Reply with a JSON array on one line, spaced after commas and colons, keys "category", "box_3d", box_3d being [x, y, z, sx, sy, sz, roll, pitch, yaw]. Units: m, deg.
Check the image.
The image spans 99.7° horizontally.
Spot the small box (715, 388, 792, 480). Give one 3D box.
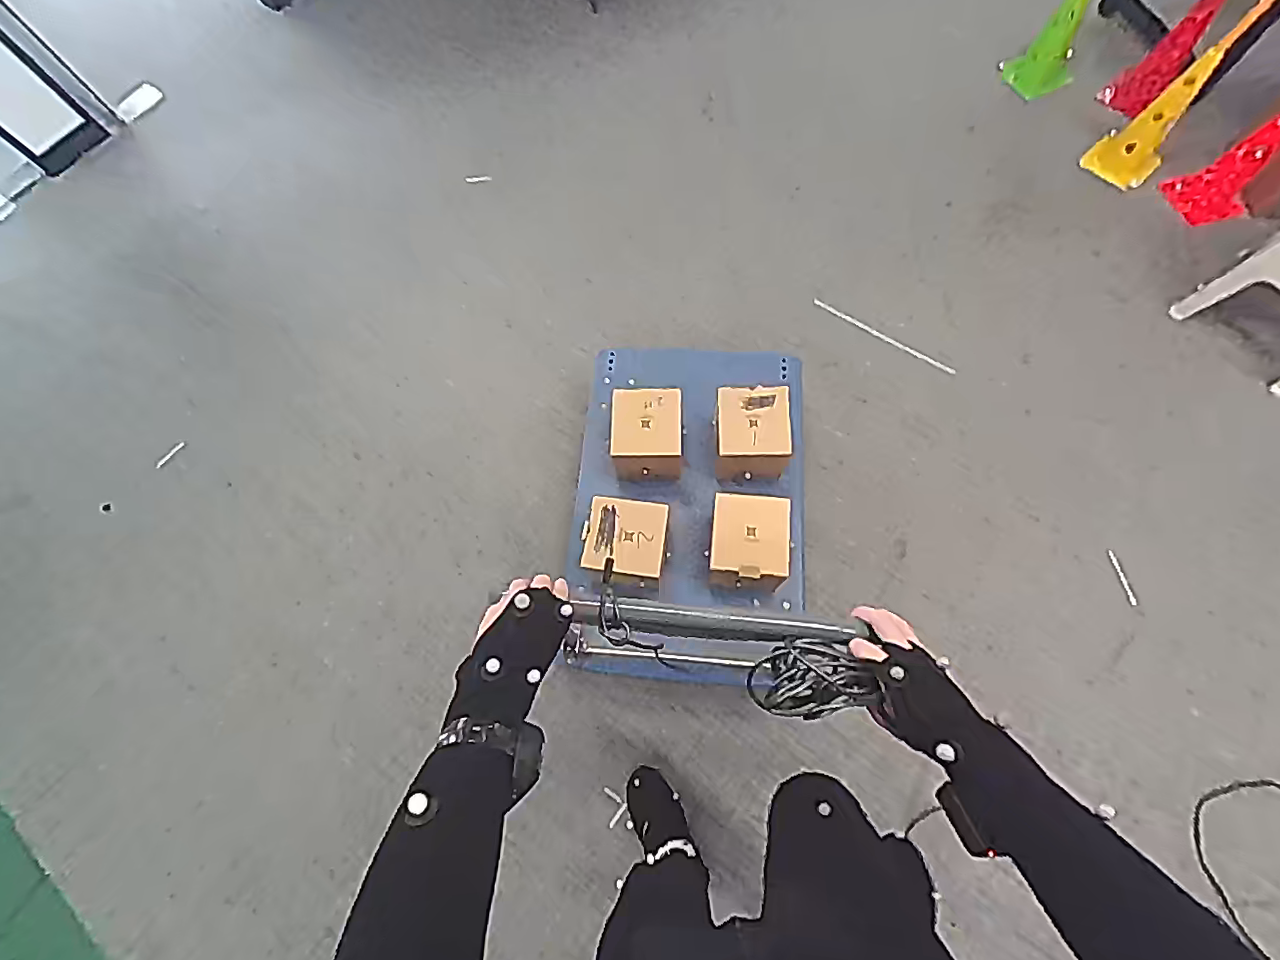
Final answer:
[{"category": "small box", "box_3d": [0.273, -0.111, 1.330, 0.168, 0.176, 0.179, 0, 71, 5]}]

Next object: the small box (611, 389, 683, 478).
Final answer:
[{"category": "small box", "box_3d": [0.022, -0.111, 1.350, 0.168, 0.176, 0.179, 1, 70, 4]}]

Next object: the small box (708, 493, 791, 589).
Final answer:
[{"category": "small box", "box_3d": [0.246, 0.143, 1.242, 0.168, 0.176, 0.179, 5, 71, 7]}]
